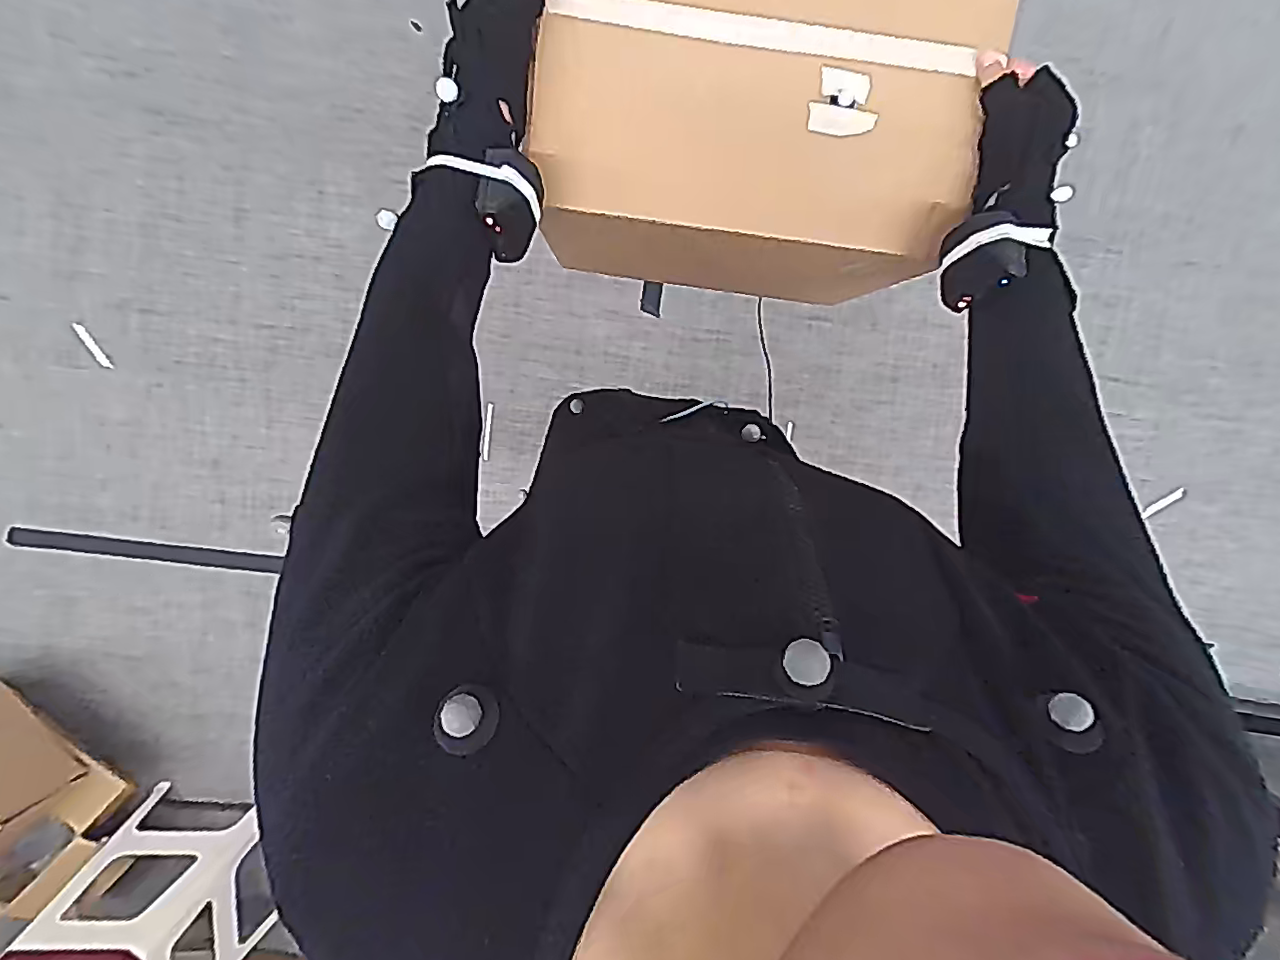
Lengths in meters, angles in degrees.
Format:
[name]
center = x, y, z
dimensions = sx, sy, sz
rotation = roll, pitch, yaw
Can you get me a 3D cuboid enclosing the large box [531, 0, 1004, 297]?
[large box]
center = 0.105, -0.409, 0.616
dimensions = 0.408, 0.320, 0.320
rotation = 6, 101, -4
